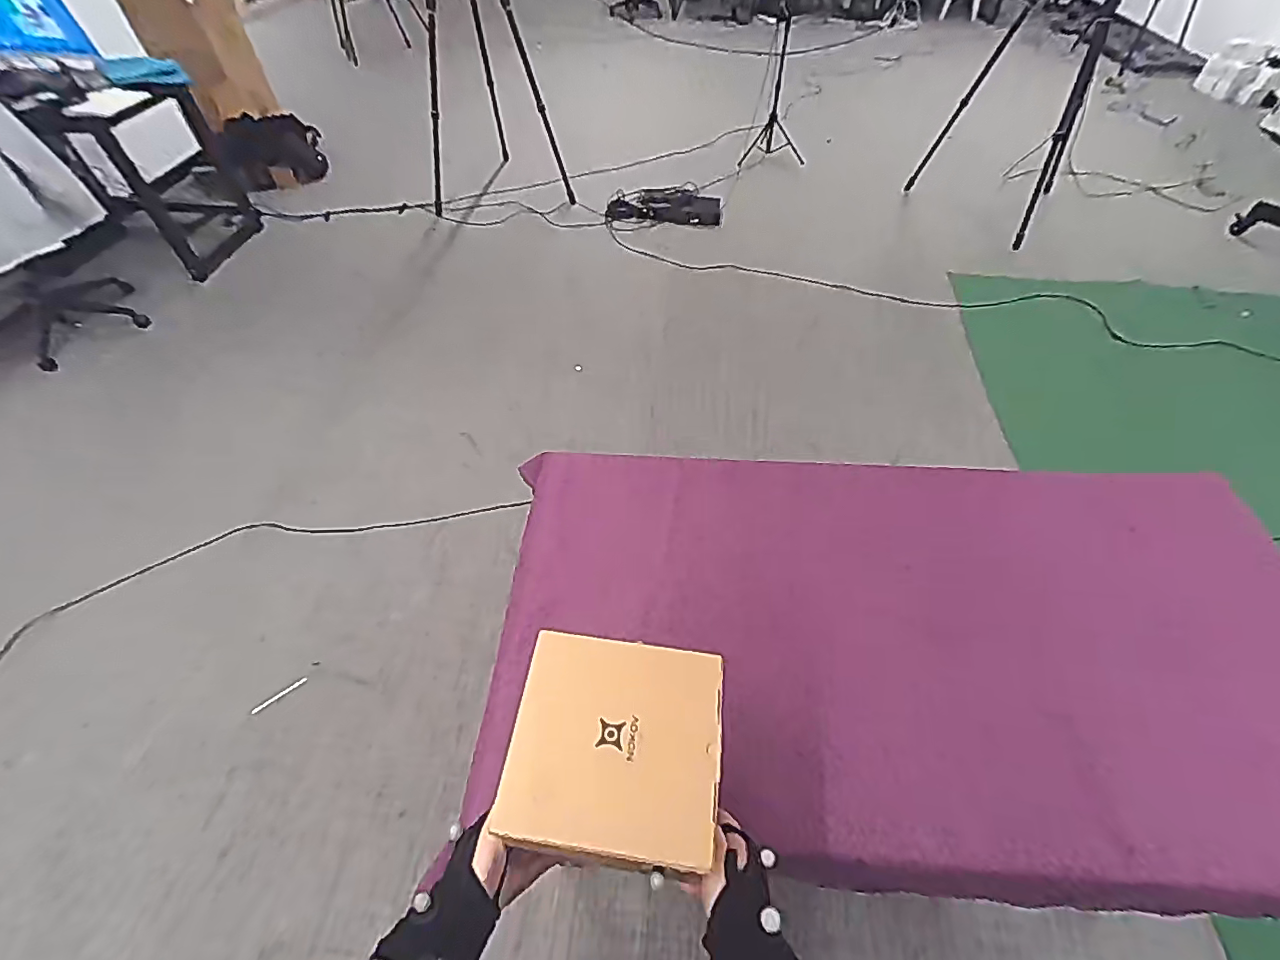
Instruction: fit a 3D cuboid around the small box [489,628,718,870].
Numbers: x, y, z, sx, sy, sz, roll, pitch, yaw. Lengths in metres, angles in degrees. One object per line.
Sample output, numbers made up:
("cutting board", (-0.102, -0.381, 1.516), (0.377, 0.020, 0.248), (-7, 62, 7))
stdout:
("small box", (-0.023, 0.263, 0.524), (0.179, 0.176, 0.168), (6, 51, 4))
